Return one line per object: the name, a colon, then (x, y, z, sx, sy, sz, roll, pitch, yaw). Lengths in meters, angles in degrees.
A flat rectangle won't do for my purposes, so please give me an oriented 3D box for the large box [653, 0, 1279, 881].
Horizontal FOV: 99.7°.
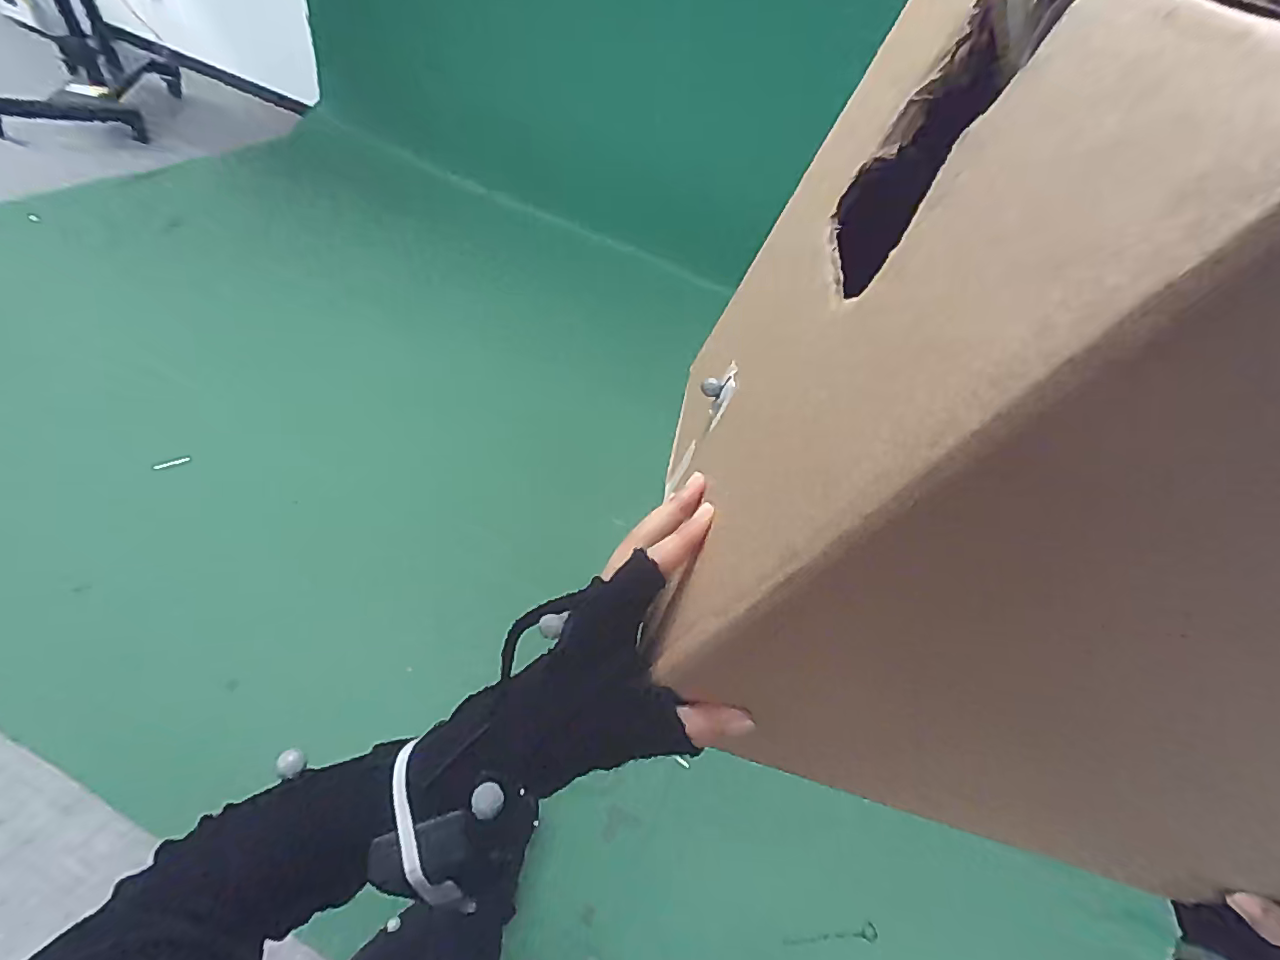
large box: (0.261, 0.005, 0.321, 0.408, 0.320, 0.320, 23, 49, -10)
